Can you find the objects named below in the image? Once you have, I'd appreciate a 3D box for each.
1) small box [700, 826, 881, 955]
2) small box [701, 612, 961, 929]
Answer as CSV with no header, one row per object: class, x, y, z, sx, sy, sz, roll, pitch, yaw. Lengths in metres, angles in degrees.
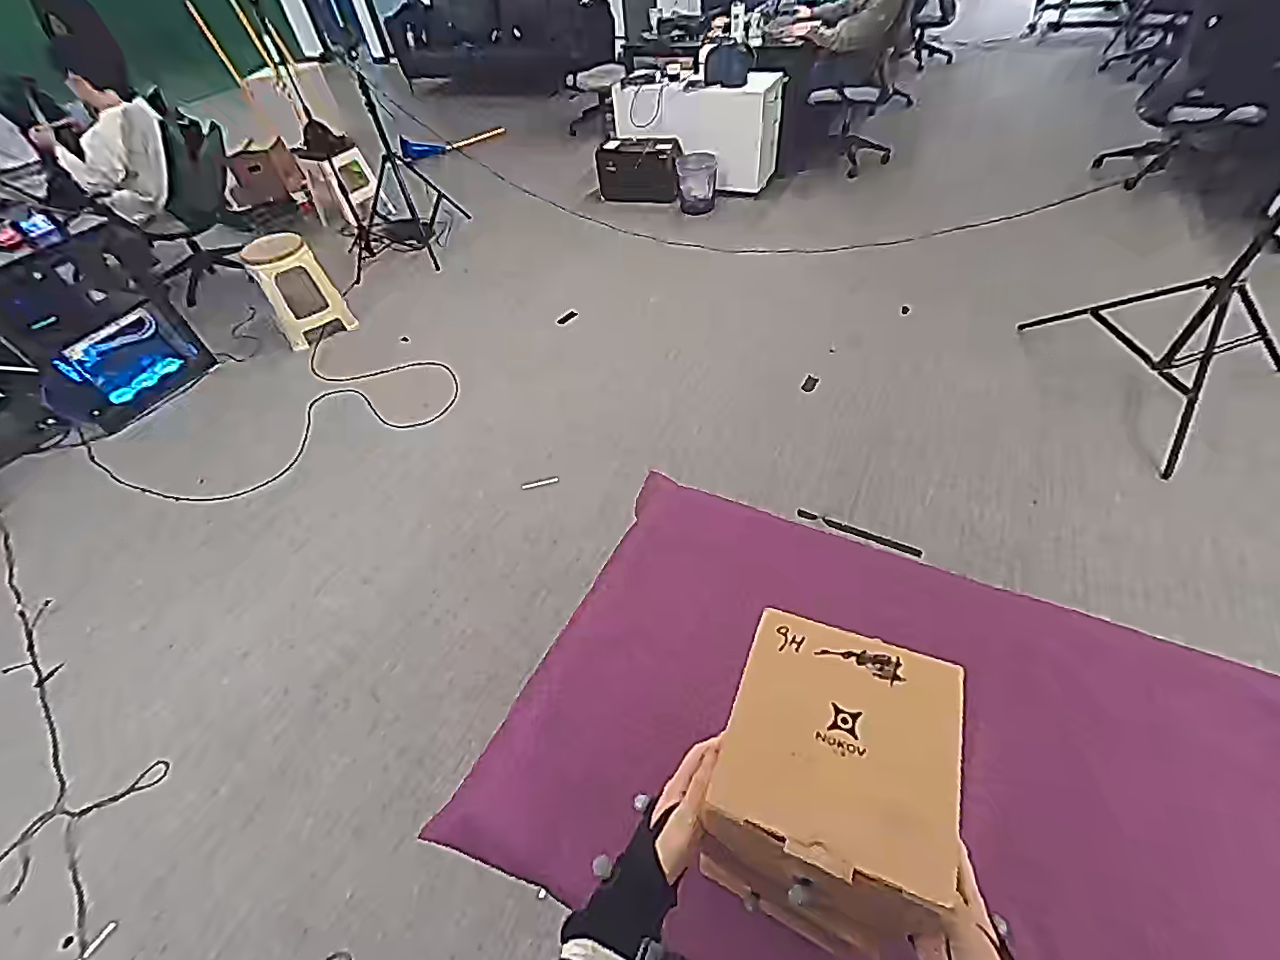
small box,0.176,0.374,0.593,0.168,0.176,0.179,19,52,22
small box,0.162,0.254,0.476,0.168,0.176,0.179,14,50,20
